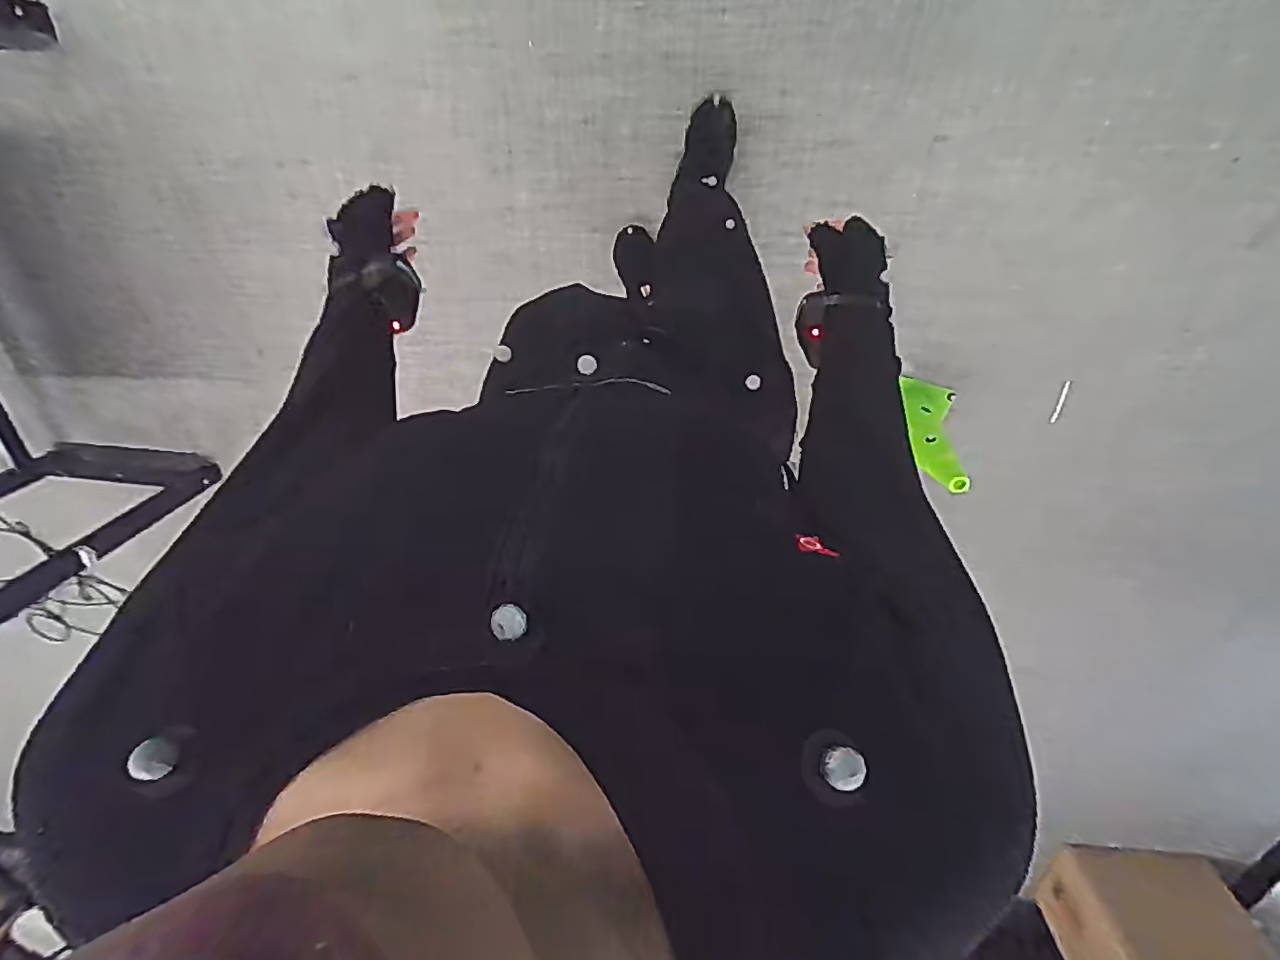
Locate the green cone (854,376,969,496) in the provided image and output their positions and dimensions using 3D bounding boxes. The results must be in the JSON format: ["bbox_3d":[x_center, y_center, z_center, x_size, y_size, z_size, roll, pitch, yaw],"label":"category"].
[{"bbox_3d":[0.664,-0.076,1.251,0.200,0.368,0.202,13,120,-1],"label":"green cone"}]
